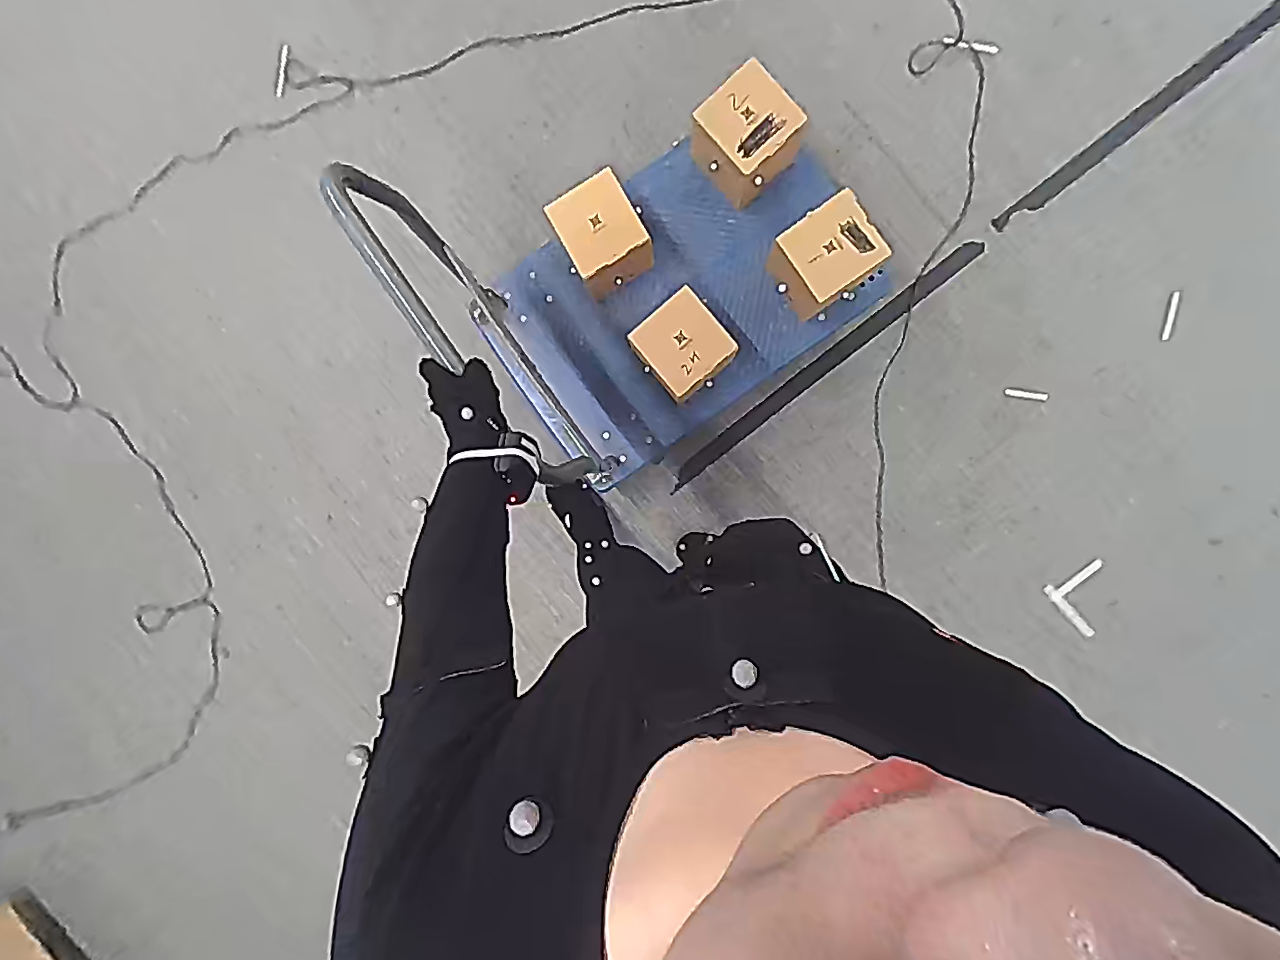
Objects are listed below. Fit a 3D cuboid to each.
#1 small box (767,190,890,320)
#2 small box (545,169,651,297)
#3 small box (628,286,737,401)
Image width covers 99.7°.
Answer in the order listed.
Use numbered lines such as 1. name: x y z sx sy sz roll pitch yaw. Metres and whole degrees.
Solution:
1. small box: 0.400 -0.480 1.180 0.179 0.176 0.168 -34 90 7
2. small box: -0.087 -0.544 1.216 0.168 0.176 0.179 -30 92 4
3. small box: 0.095 -0.294 1.214 0.168 0.176 0.179 -40 89 6
